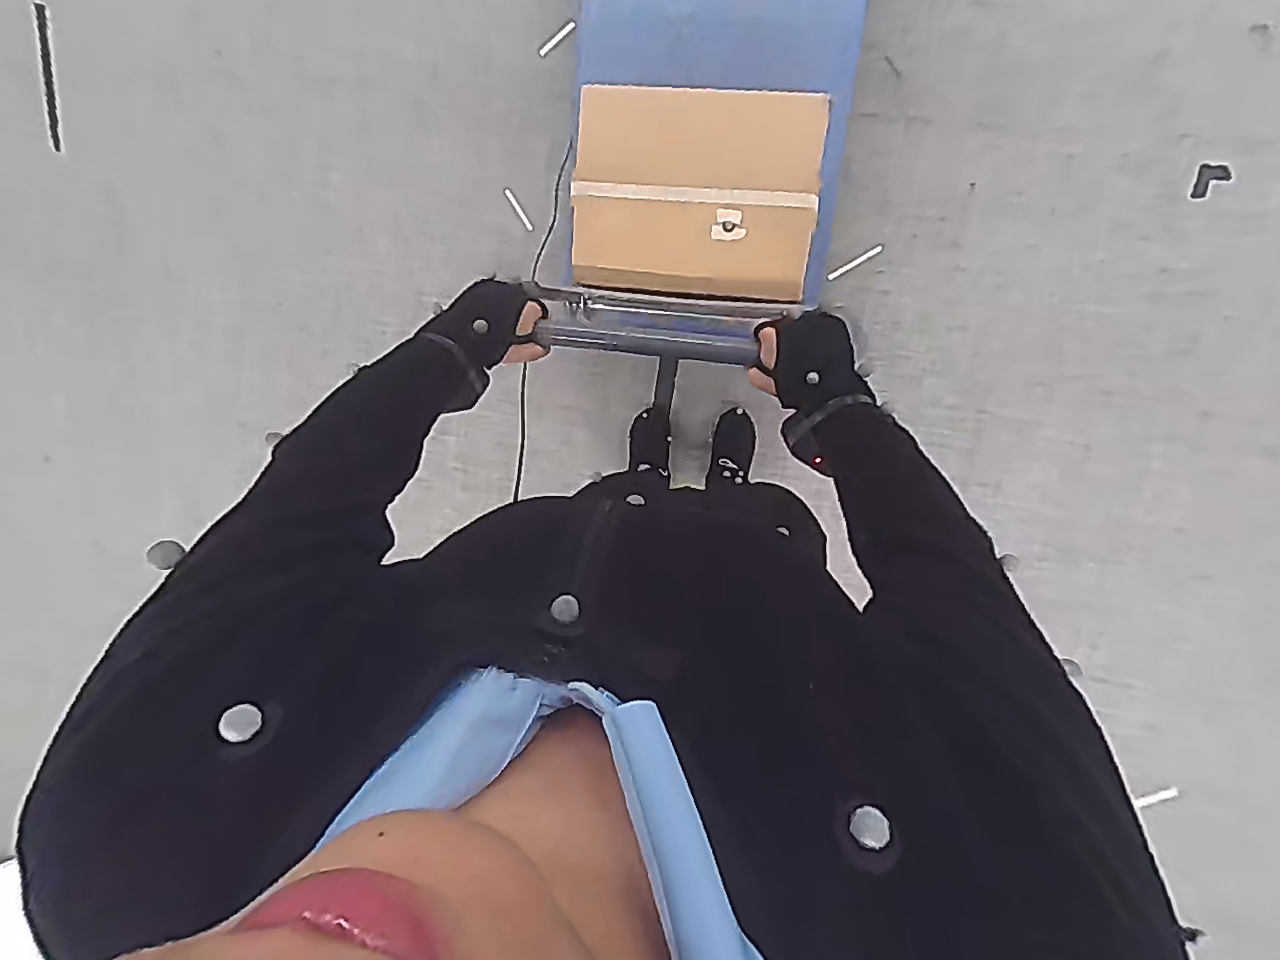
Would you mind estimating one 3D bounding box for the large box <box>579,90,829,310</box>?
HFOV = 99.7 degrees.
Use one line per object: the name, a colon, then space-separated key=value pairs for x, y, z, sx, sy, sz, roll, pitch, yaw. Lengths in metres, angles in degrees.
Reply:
large box: x=0.112 y=-0.517 z=1.061 sx=0.408 sy=0.320 sz=0.320 roll=7 pitch=105 yaw=6
